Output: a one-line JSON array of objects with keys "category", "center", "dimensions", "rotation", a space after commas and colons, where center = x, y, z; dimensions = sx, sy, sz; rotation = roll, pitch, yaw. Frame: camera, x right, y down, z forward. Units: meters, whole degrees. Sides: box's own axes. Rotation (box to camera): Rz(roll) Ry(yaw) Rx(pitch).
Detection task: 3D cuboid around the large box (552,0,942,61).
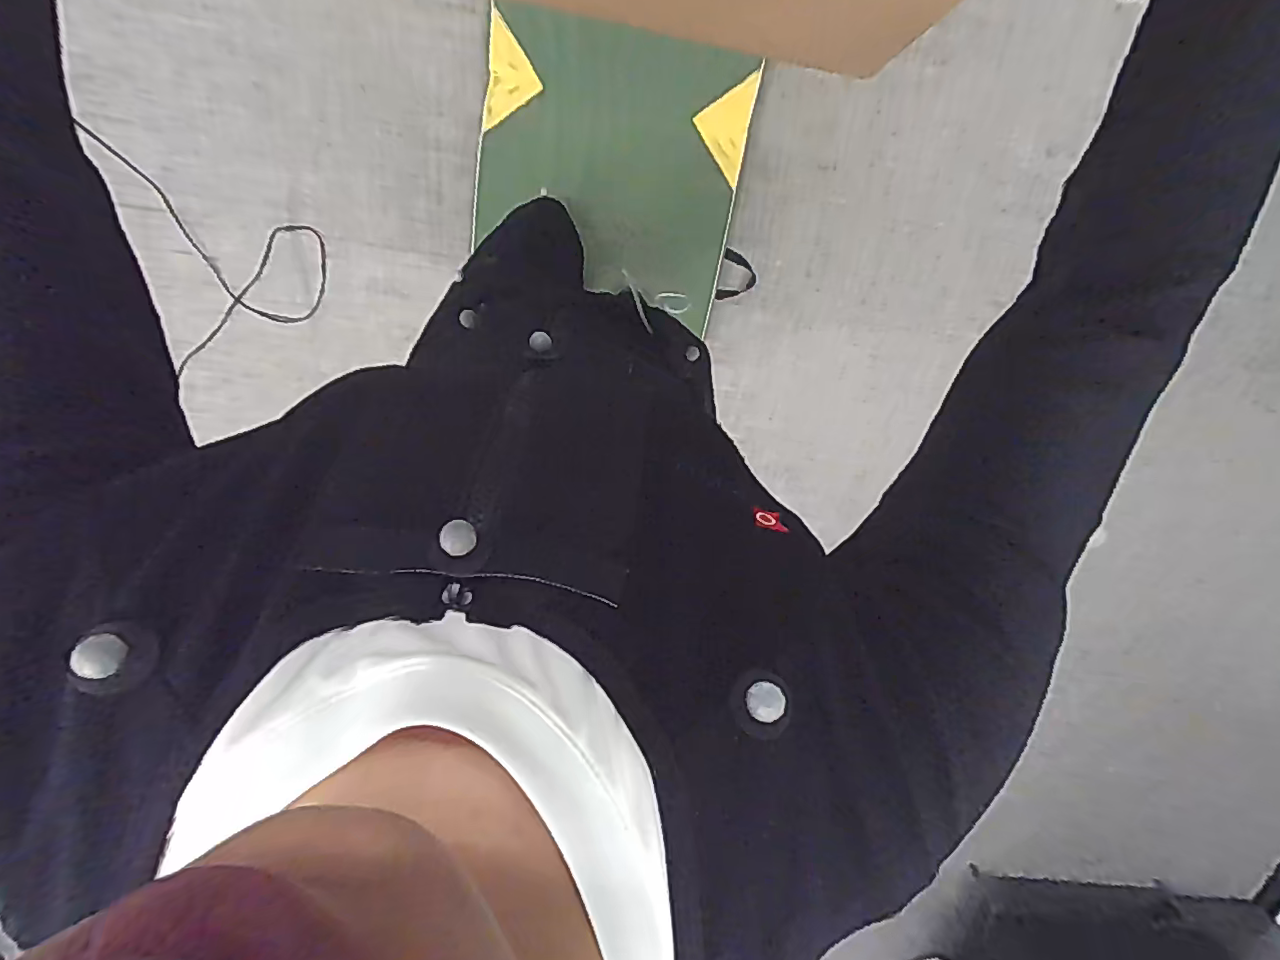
[{"category": "large box", "center": [0.034, -0.471, 0.258], "dimensions": [0.408, 0.320, 0.320], "rotation": [8, 110, -5]}]
